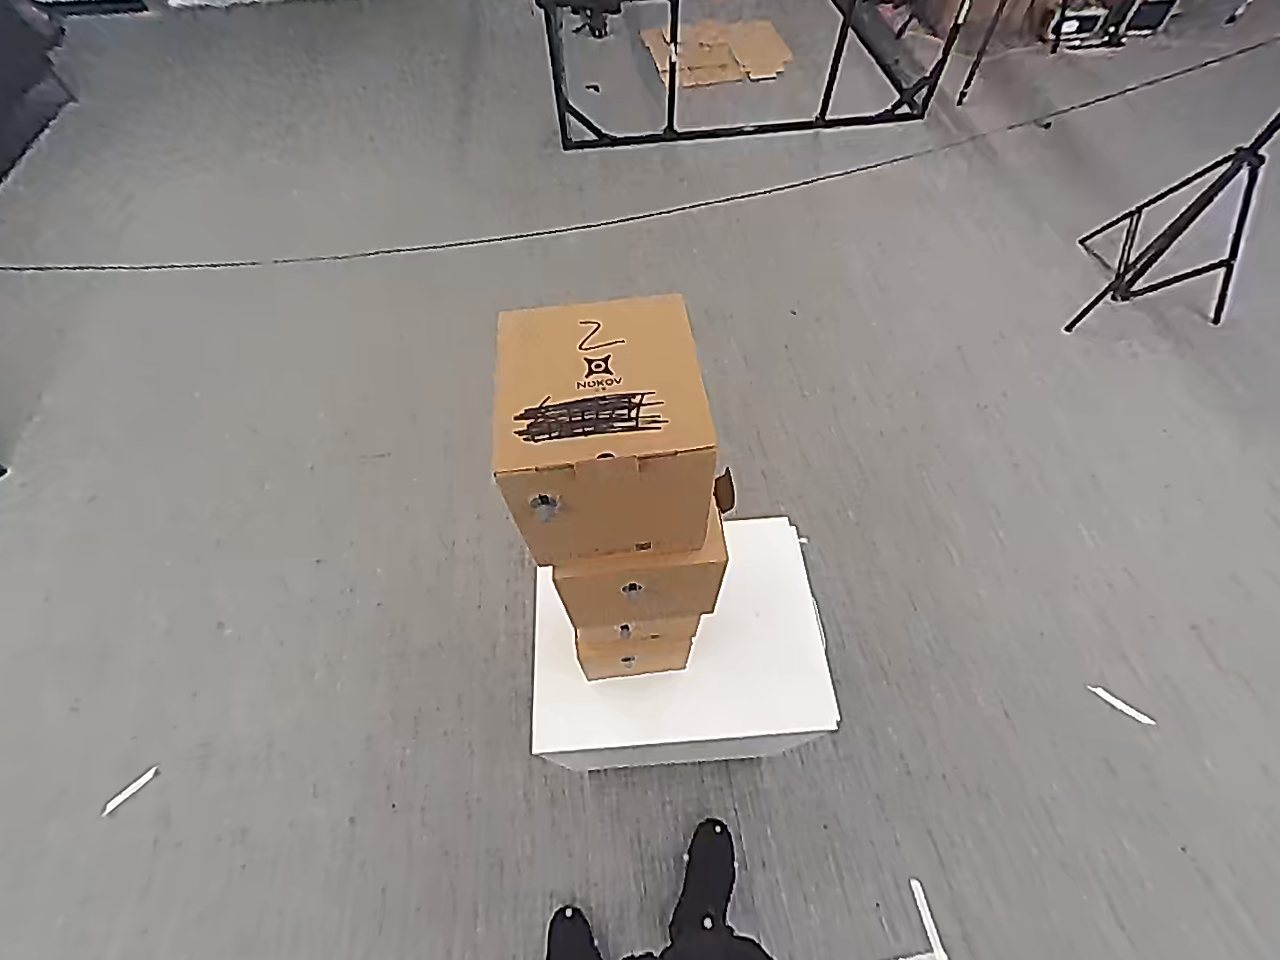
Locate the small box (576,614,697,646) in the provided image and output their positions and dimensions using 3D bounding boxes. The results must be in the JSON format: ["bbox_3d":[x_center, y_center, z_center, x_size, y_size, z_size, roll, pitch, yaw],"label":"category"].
[{"bbox_3d":[-0.007,0.134,0.788,0.168,0.176,0.179,-5,58,-2],"label":"small box"}]

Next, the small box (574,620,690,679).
[{"bbox_3d":[-0.017,0.232,0.918,0.179,0.176,0.168,-5,59,-4],"label":"small box"}]

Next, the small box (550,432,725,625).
[{"bbox_3d":[-0.006,0.064,0.638,0.179,0.176,0.168,-5,59,-3],"label":"small box"}]
